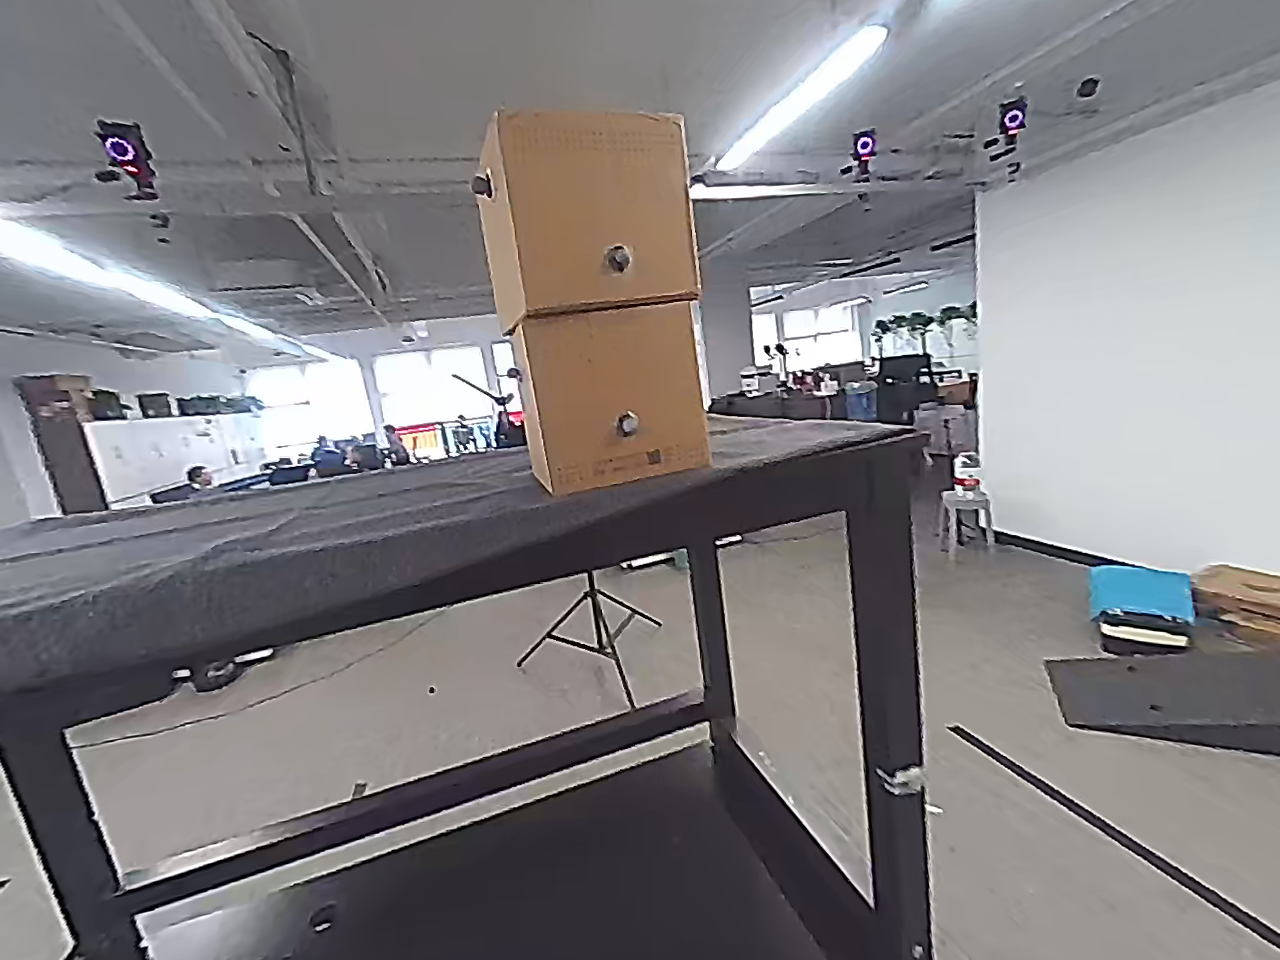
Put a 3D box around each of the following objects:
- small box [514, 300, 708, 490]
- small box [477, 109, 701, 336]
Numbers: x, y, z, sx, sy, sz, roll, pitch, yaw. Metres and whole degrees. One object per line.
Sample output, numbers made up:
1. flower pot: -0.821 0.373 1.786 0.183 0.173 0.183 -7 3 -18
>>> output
1. small box: -0.039 -0.090 0.597 0.168 0.176 0.179 -12 11 -15
2. small box: -0.058 -0.251 0.556 0.179 0.176 0.168 -11 10 -20
